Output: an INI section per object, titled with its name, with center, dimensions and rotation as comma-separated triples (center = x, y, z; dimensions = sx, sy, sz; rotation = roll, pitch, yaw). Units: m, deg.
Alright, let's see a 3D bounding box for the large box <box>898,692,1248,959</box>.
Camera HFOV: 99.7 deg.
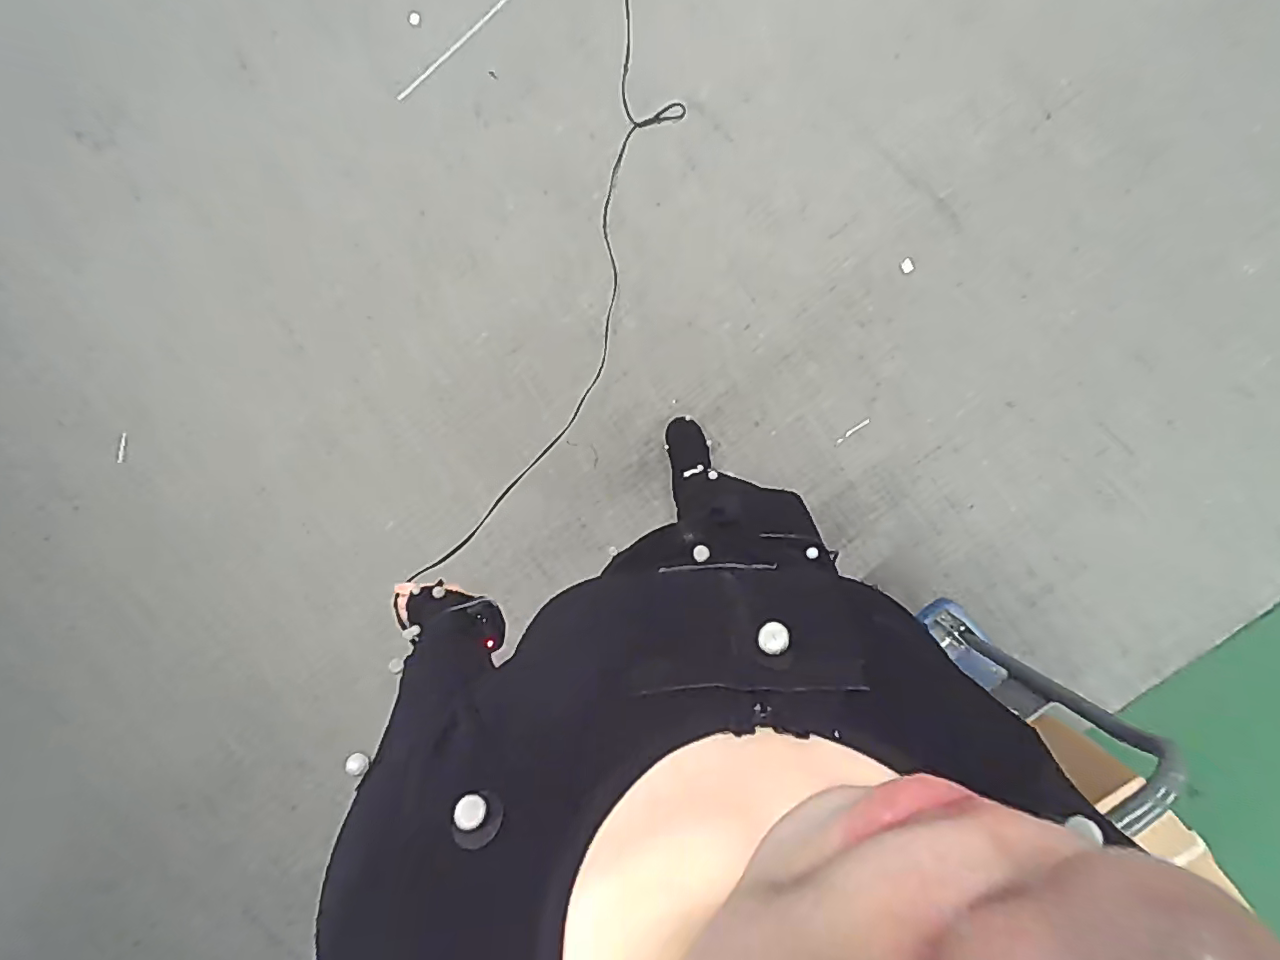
[large box]
center = 0.842, 0.731, 1.120
dimensions = 0.408, 0.320, 0.320
rotation = -39, 87, 6
